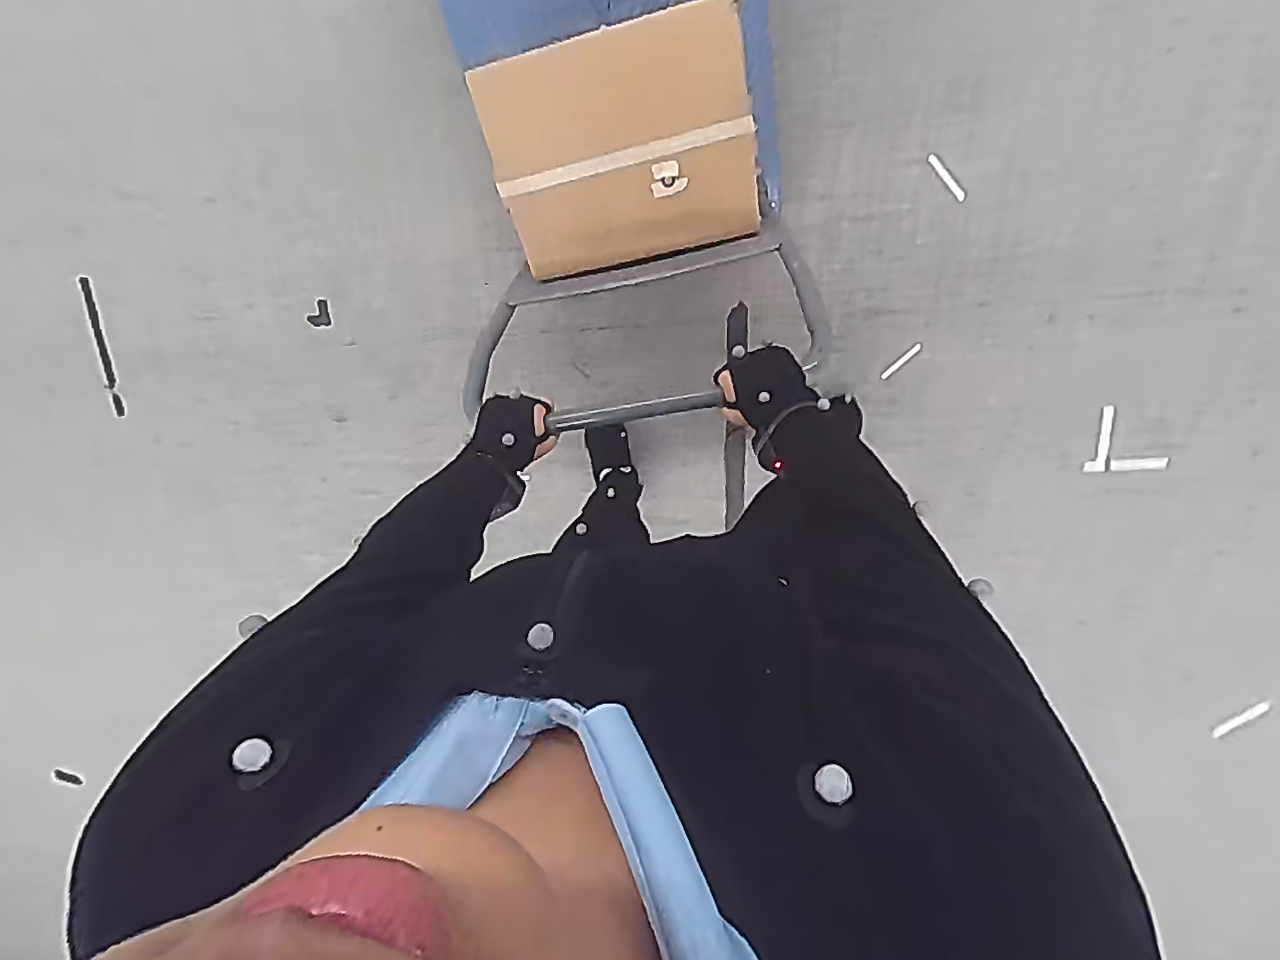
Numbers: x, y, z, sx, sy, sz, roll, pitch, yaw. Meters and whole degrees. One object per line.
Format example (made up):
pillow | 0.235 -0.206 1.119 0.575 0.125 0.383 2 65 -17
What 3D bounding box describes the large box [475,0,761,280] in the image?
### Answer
large box | -0.019 -0.605 0.982 0.408 0.320 0.320 -10 126 10
